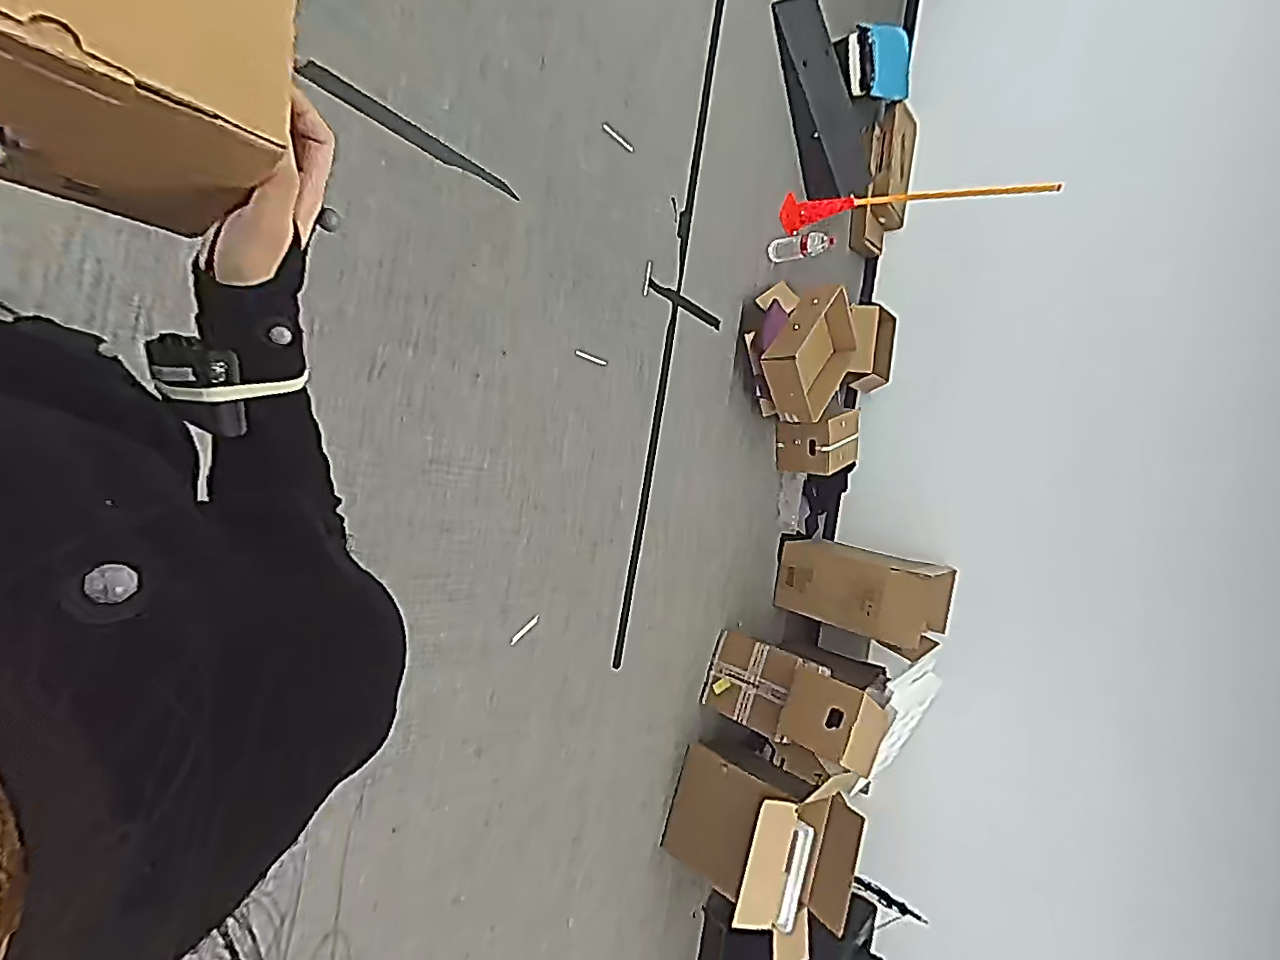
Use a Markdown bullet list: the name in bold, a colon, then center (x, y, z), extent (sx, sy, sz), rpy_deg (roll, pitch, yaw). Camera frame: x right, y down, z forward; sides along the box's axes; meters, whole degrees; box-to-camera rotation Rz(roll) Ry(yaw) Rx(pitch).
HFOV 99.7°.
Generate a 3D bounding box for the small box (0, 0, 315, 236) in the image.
- **small box**: center (-0.283, -0.253, 0.266), extent (0.168, 0.176, 0.179), rpy_deg (2, 89, -52)
